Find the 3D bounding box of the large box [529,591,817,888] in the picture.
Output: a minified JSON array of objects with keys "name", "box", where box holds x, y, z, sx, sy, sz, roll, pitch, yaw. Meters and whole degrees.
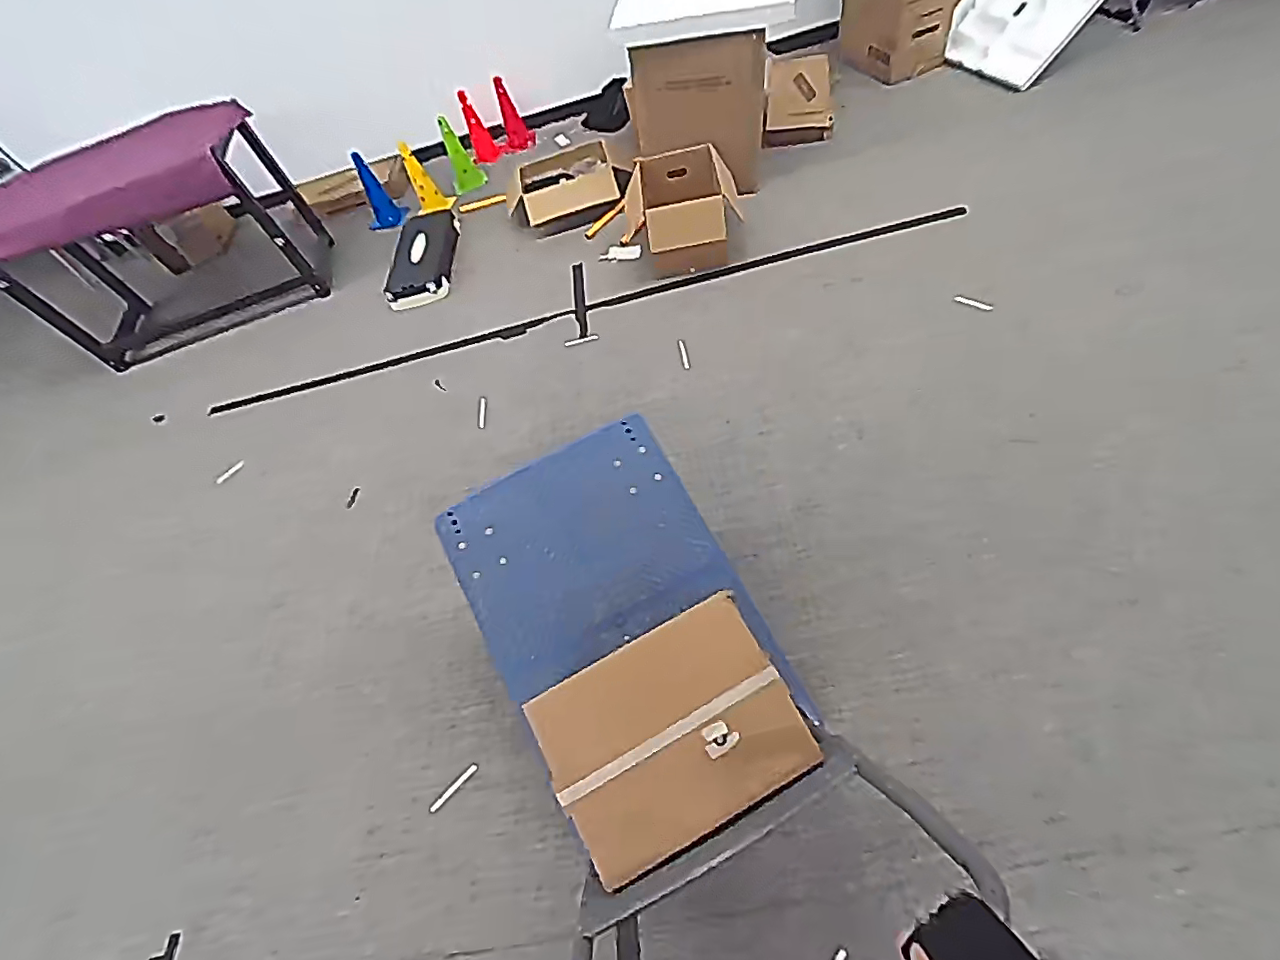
[{"name":"large box","box":[0.054,0.465,1.054,0.408,0.320,0.320,-29,76,-8]}]
